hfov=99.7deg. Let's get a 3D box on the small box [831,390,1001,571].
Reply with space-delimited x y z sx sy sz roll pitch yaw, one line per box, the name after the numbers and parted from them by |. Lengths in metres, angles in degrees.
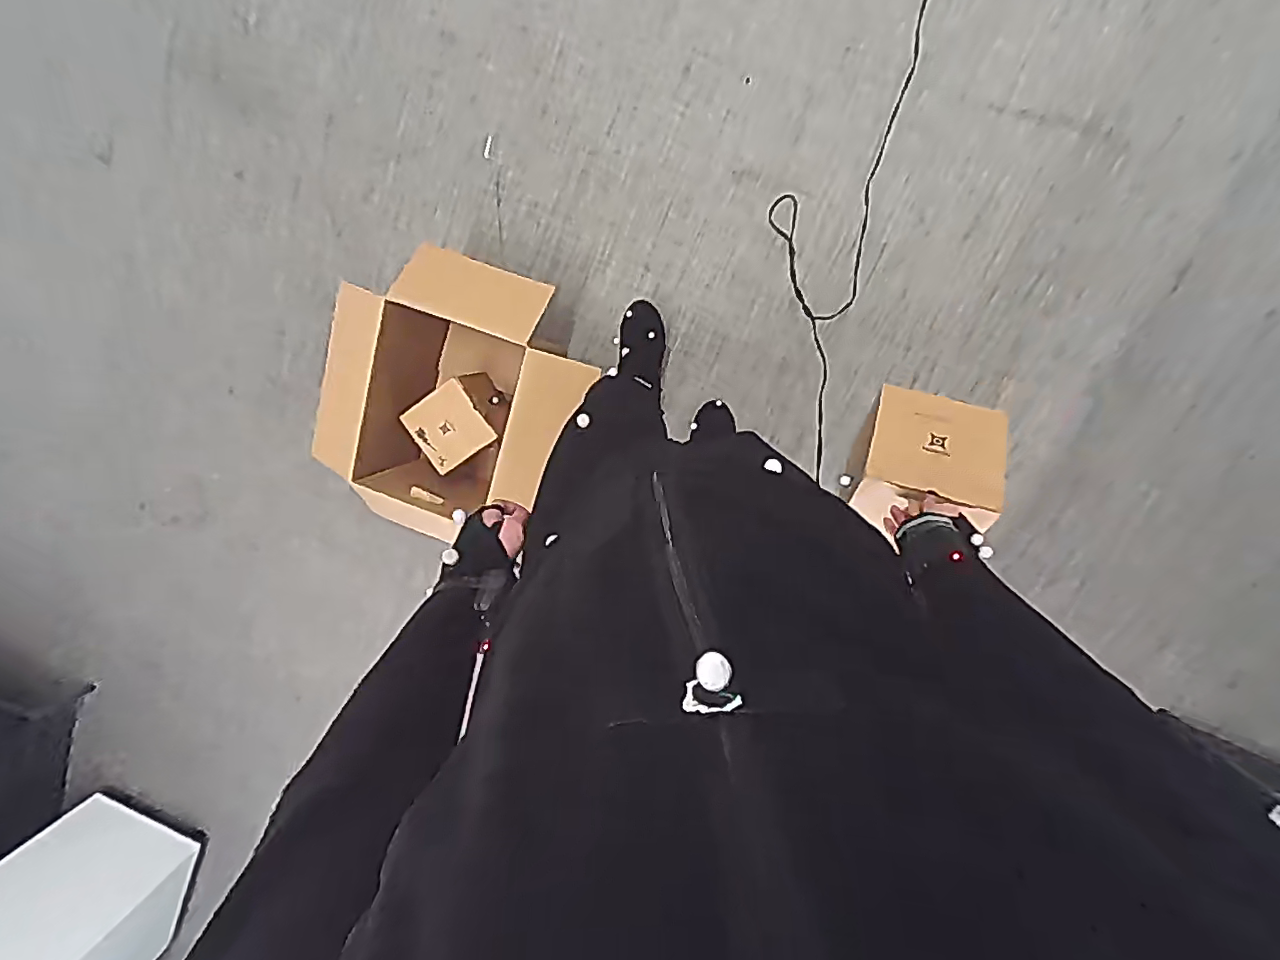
0.390 0.006 0.783 0.168 0.179 0.176 18 146 12 | small box
